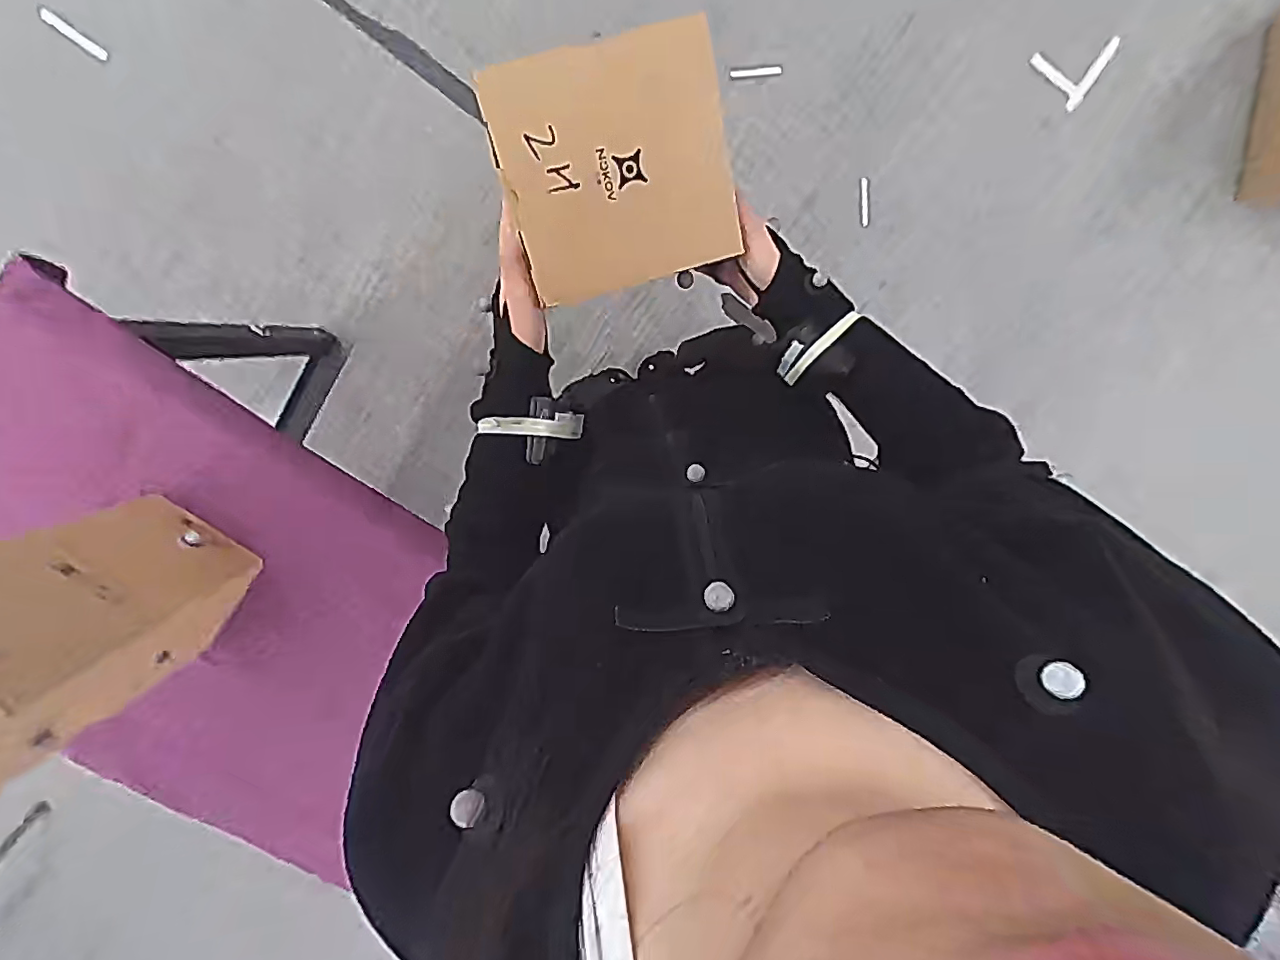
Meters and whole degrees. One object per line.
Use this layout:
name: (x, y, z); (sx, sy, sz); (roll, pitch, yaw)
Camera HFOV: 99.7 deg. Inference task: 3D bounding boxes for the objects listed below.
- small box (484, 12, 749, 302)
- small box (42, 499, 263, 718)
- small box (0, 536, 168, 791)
small box: (-0.022, -0.268, 0.480); (0.179, 0.176, 0.168); (-15, 114, -2)
small box: (-0.638, 0.152, 0.692); (0.168, 0.176, 0.179); (37, 100, -10)
small box: (-0.633, 0.188, 0.533); (0.168, 0.176, 0.179); (39, 101, -10)
